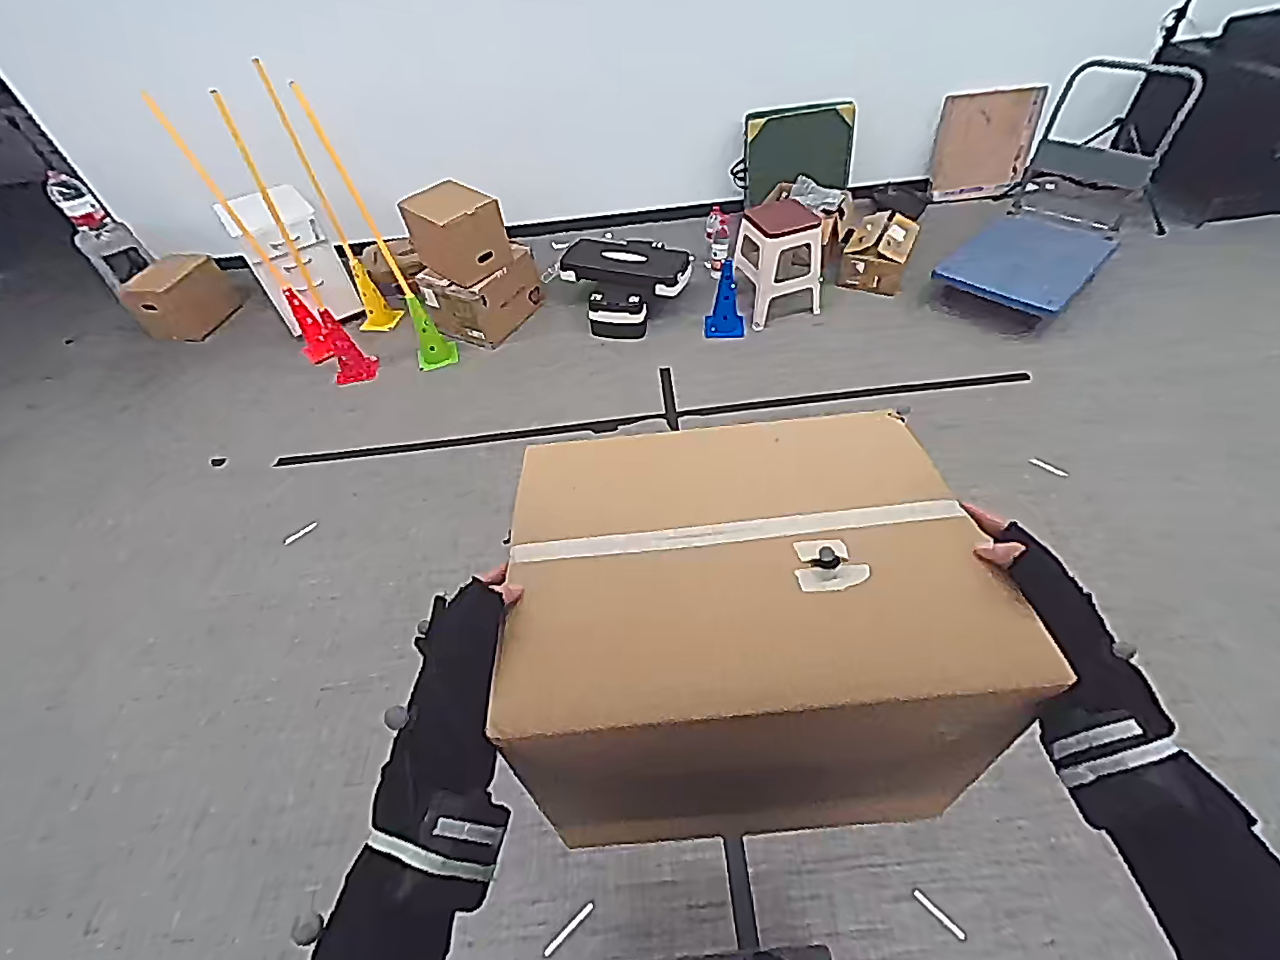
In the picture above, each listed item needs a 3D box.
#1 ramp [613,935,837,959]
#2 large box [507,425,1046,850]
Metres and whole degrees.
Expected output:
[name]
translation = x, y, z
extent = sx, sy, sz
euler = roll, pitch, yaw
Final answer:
[ramp]
translation = 0.206, 1.385, 0.857
extent = 0.509, 0.206, 0.991
euler = -8, 49, -1
[large box]
translation = 0.099, 0.171, 0.597
extent = 0.408, 0.320, 0.320
euler = -6, 43, 1
